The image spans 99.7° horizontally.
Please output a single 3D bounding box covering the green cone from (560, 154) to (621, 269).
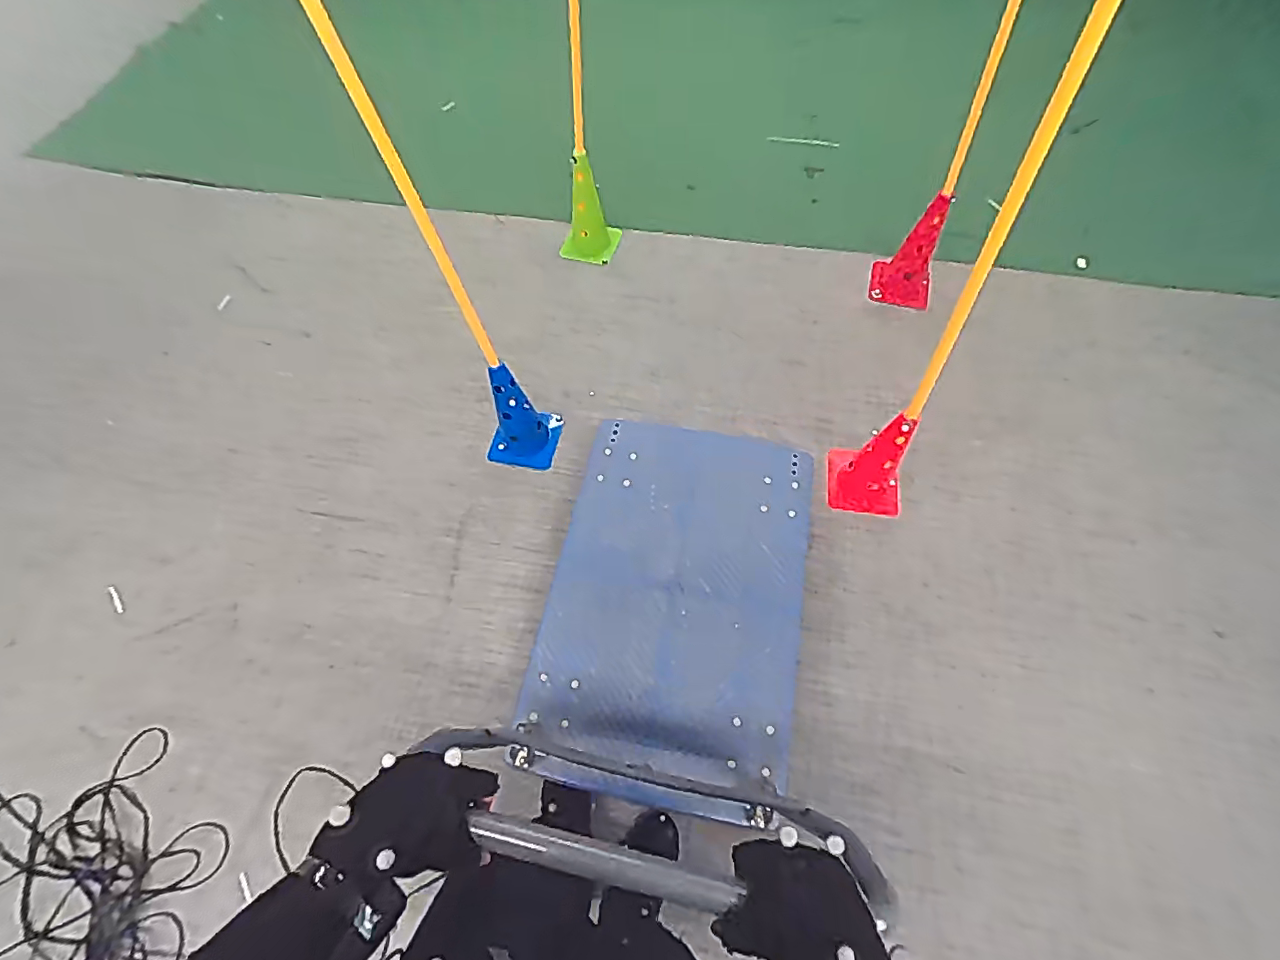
[{"bbox_3d":[-0.195,-0.966,1.916,0.202,0.368,0.200,13,63,9],"label":"green cone"}]

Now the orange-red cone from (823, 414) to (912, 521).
[{"bbox_3d":[0.630,-0.058,1.429,0.199,0.360,0.198,8,63,8],"label":"orange-red cone"}]
